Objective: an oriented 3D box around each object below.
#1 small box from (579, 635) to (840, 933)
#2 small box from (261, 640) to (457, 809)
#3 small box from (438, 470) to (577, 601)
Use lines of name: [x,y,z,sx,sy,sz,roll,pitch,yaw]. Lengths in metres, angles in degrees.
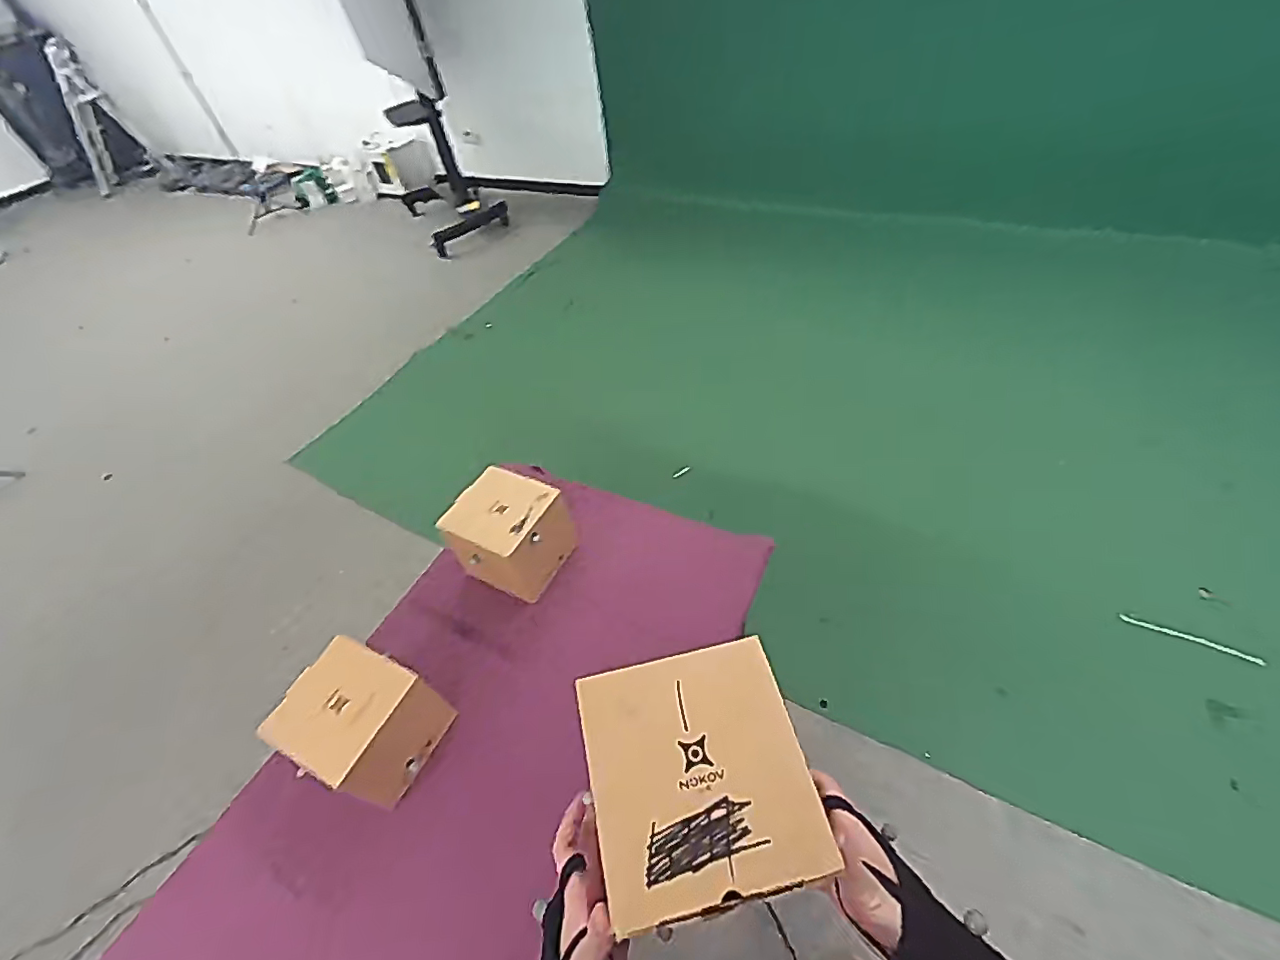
small box: [0.050,0.265,0.479,0.168,0.176,0.179,-12,53,-5]
small box: [-0.428,0.387,0.850,0.179,0.176,0.168,16,54,23]
small box: [-0.251,0.111,1.059,0.179,0.176,0.168,17,55,25]
